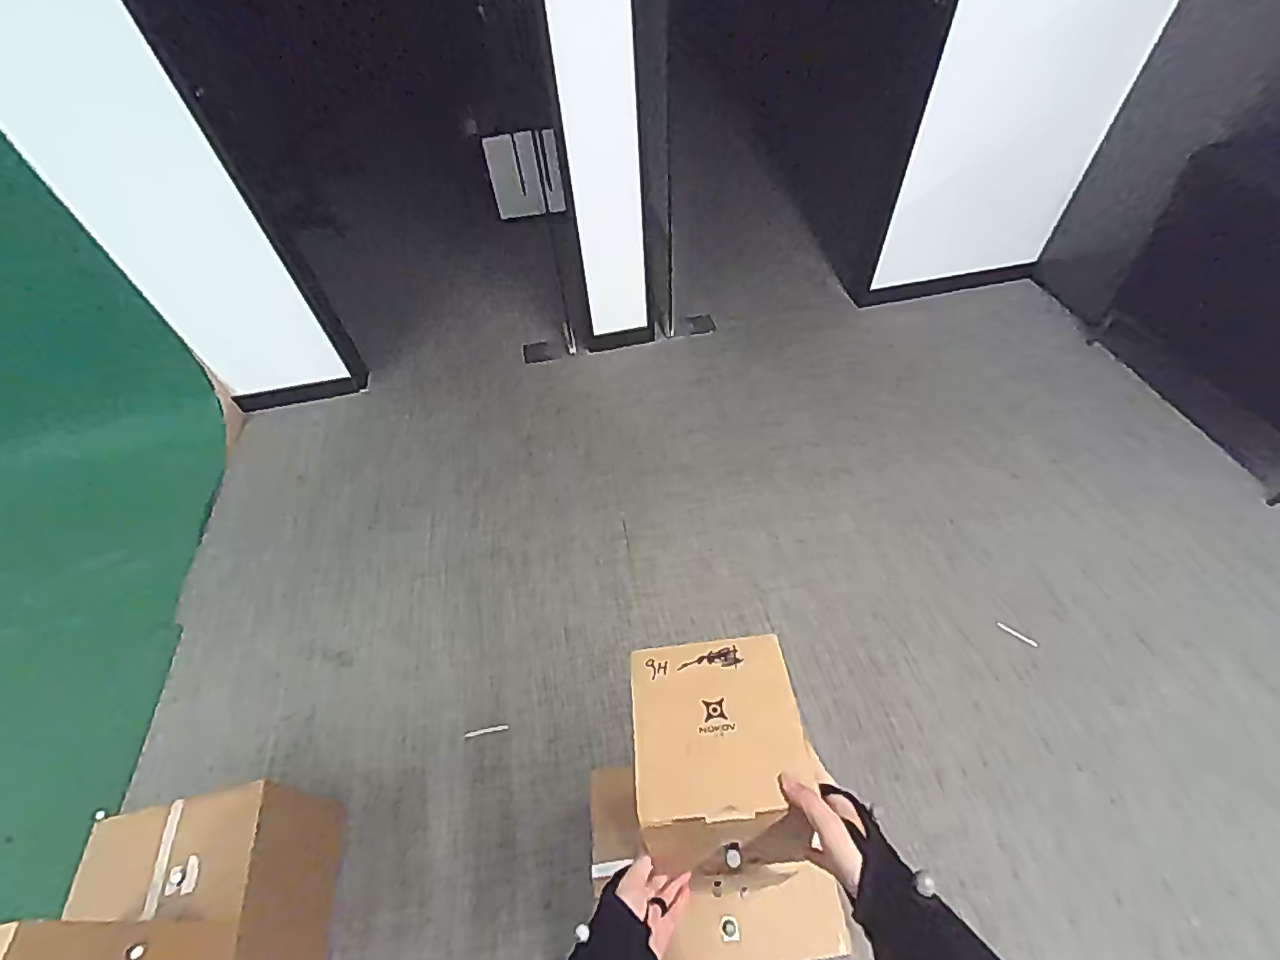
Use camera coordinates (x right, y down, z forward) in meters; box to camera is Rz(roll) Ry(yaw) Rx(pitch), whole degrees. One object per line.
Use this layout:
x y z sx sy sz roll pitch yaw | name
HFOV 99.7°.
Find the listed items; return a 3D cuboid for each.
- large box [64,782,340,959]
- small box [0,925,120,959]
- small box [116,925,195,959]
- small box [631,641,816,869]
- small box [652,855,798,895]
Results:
-0.819 0.860 1.025 0.320 0.320 0.408 -11 50 -5 | large box
-0.803 0.665 0.655 0.168 0.176 0.179 -10 50 -4 | small box
-0.803 0.770 0.783 0.168 0.176 0.179 -10 50 -4 | small box
0.084 0.304 0.591 0.168 0.176 0.179 -7 42 3 | small box
0.104 0.468 0.753 0.179 0.176 0.168 -4 48 2 | small box
